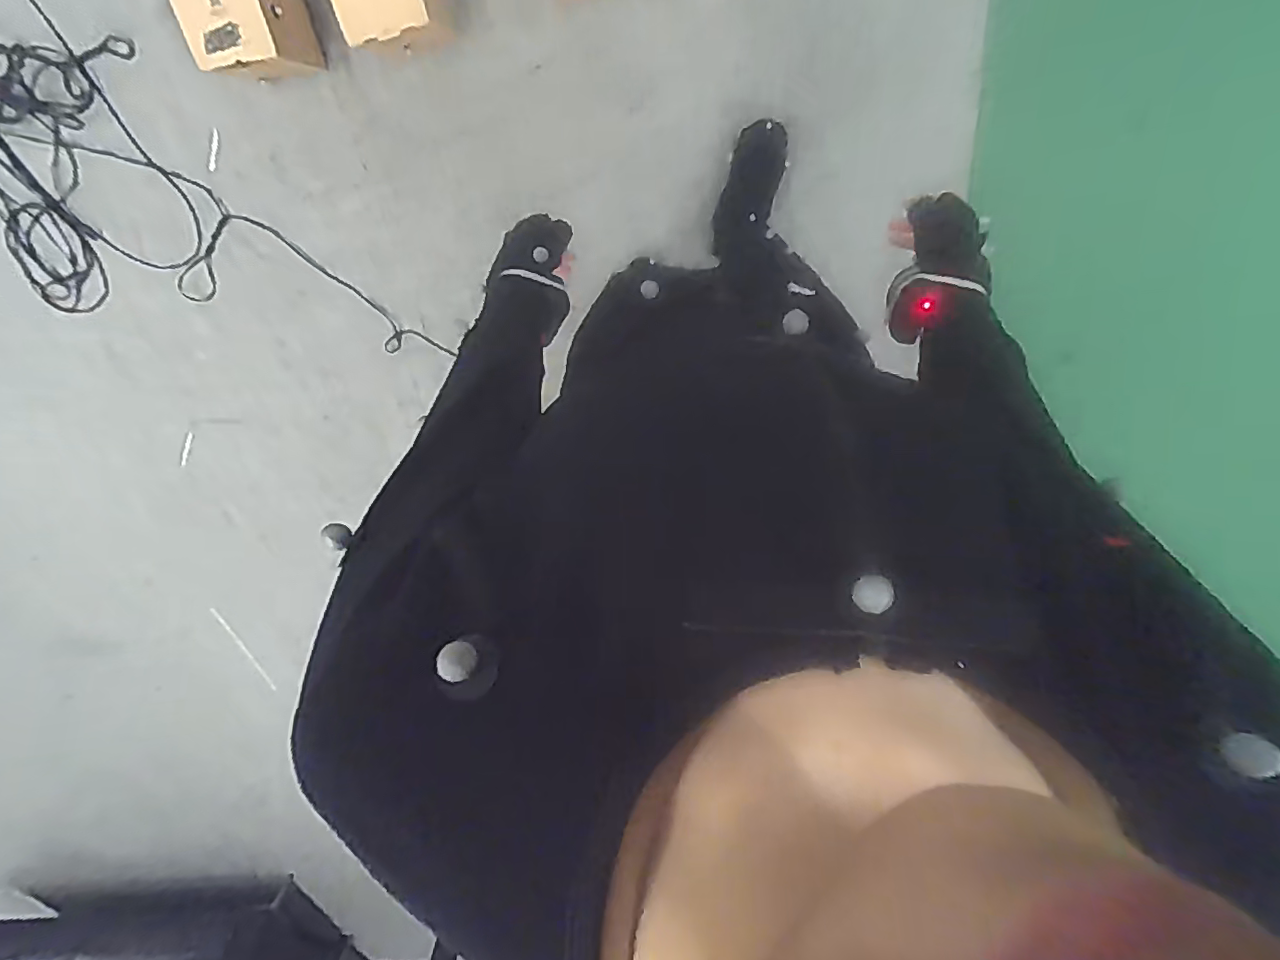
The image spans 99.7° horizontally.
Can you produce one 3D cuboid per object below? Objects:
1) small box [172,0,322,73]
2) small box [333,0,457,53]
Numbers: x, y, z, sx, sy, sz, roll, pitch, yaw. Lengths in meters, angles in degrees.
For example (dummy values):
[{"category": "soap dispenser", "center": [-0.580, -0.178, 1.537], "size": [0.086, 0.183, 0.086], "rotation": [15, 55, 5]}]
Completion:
[{"category": "small box", "center": [-0.756, -0.904, 1.038], "size": [0.168, 0.176, 0.179], "rotation": [-4, 120, 6]}, {"category": "small box", "center": [-0.469, -0.932, 1.005], "size": [0.168, 0.176, 0.179], "rotation": [-9, 121, 9]}]
